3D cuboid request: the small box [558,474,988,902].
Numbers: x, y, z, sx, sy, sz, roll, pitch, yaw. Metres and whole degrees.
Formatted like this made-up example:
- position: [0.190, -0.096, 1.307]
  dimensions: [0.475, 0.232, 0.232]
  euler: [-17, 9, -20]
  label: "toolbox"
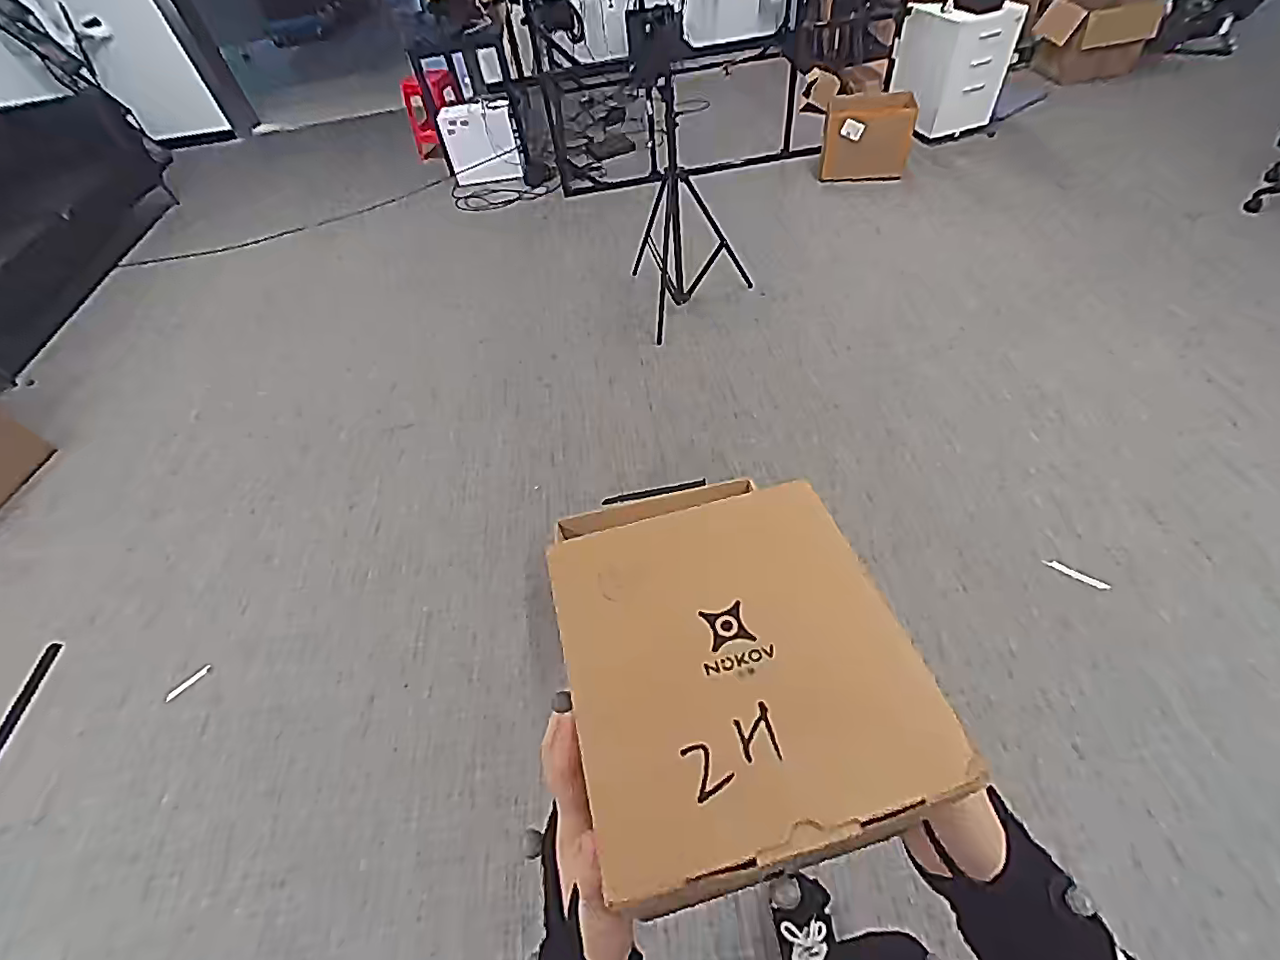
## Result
- position: [0.054, 0.128, 0.333]
  dimensions: [0.168, 0.176, 0.179]
  euler: [-14, 50, -6]
  label: "small box"
